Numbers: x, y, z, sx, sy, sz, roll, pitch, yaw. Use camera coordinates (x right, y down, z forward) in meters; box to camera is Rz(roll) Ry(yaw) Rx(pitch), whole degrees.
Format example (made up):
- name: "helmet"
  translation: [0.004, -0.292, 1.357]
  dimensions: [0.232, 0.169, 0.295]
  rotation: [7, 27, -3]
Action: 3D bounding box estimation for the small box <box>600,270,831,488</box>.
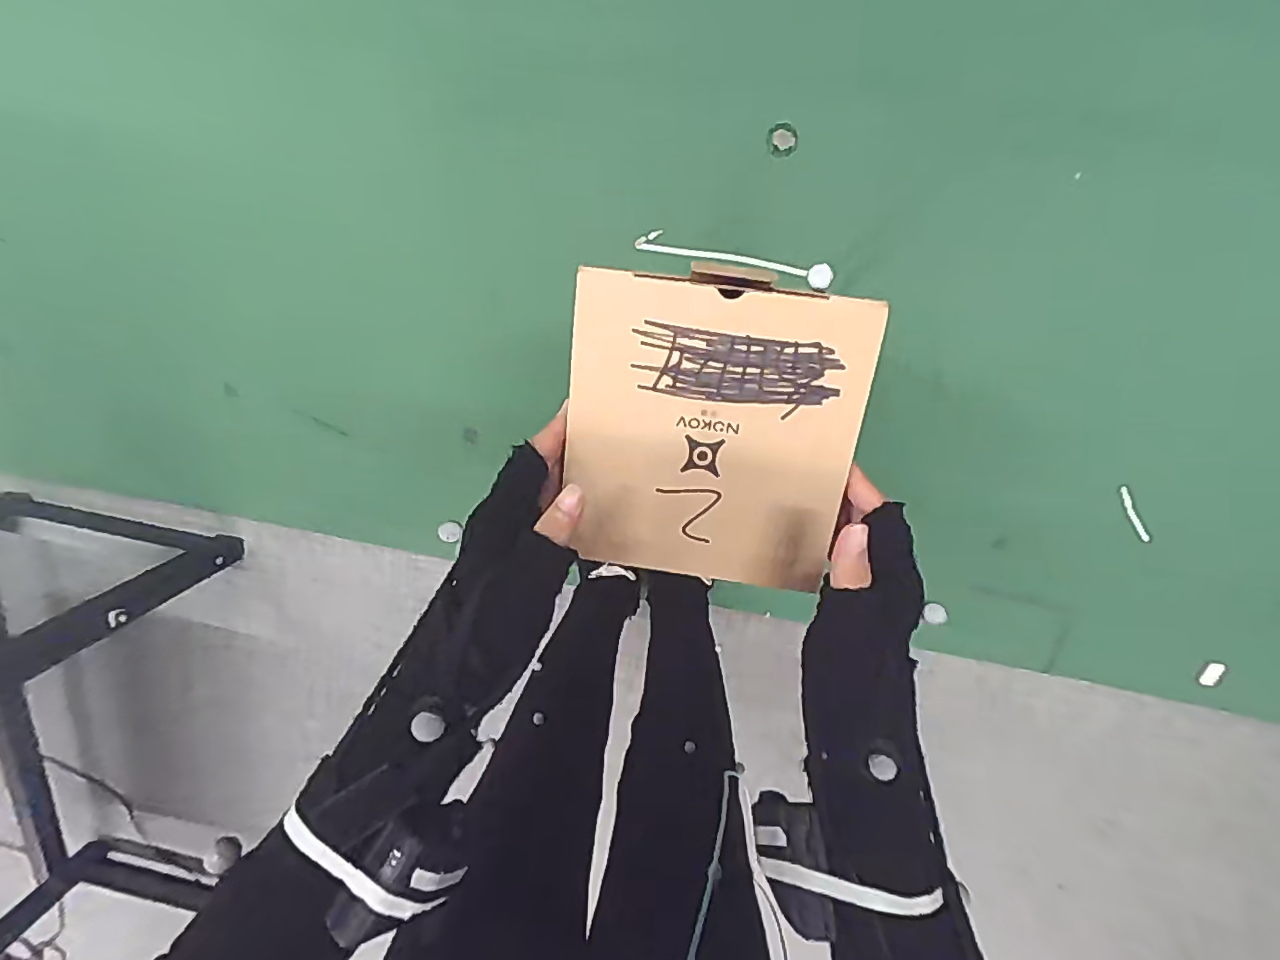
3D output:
- name: "small box"
  translation: [0.068, -0.106, 0.540]
  dimensions: [0.179, 0.176, 0.168]
  rotation: [9, 109, 4]
